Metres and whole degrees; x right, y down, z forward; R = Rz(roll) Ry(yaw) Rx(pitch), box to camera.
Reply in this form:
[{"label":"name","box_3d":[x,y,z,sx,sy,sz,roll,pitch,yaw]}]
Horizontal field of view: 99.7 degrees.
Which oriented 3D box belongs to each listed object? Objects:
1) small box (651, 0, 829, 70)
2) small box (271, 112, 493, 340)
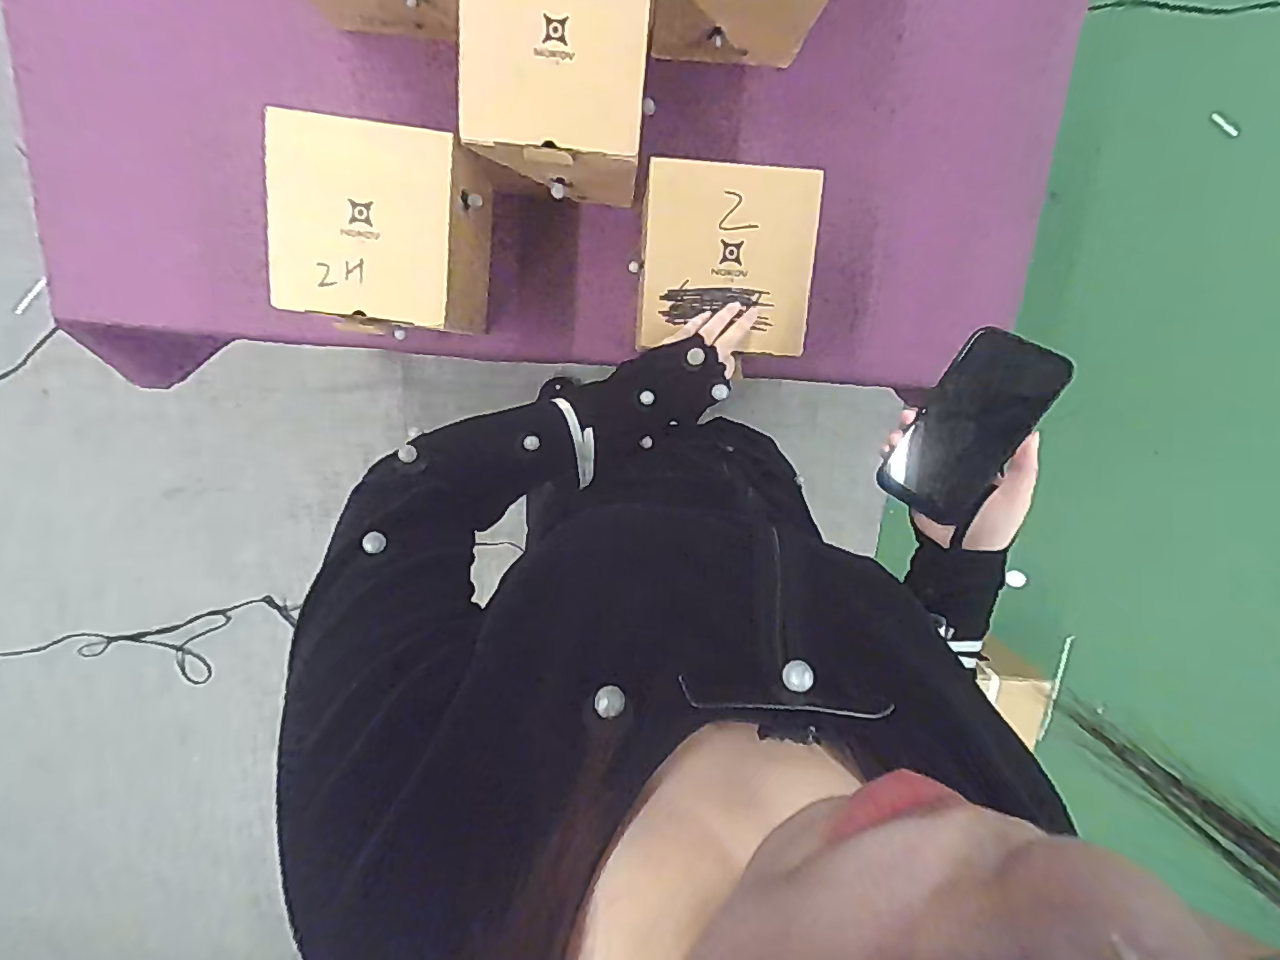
[{"label":"small box","box_3d":[0.099,-0.549,0.531,0.168,0.176,0.179,2,104,-2]},{"label":"small box","box_3d":[-0.262,-0.253,0.584,0.168,0.176,0.179,7,102,-3]}]
